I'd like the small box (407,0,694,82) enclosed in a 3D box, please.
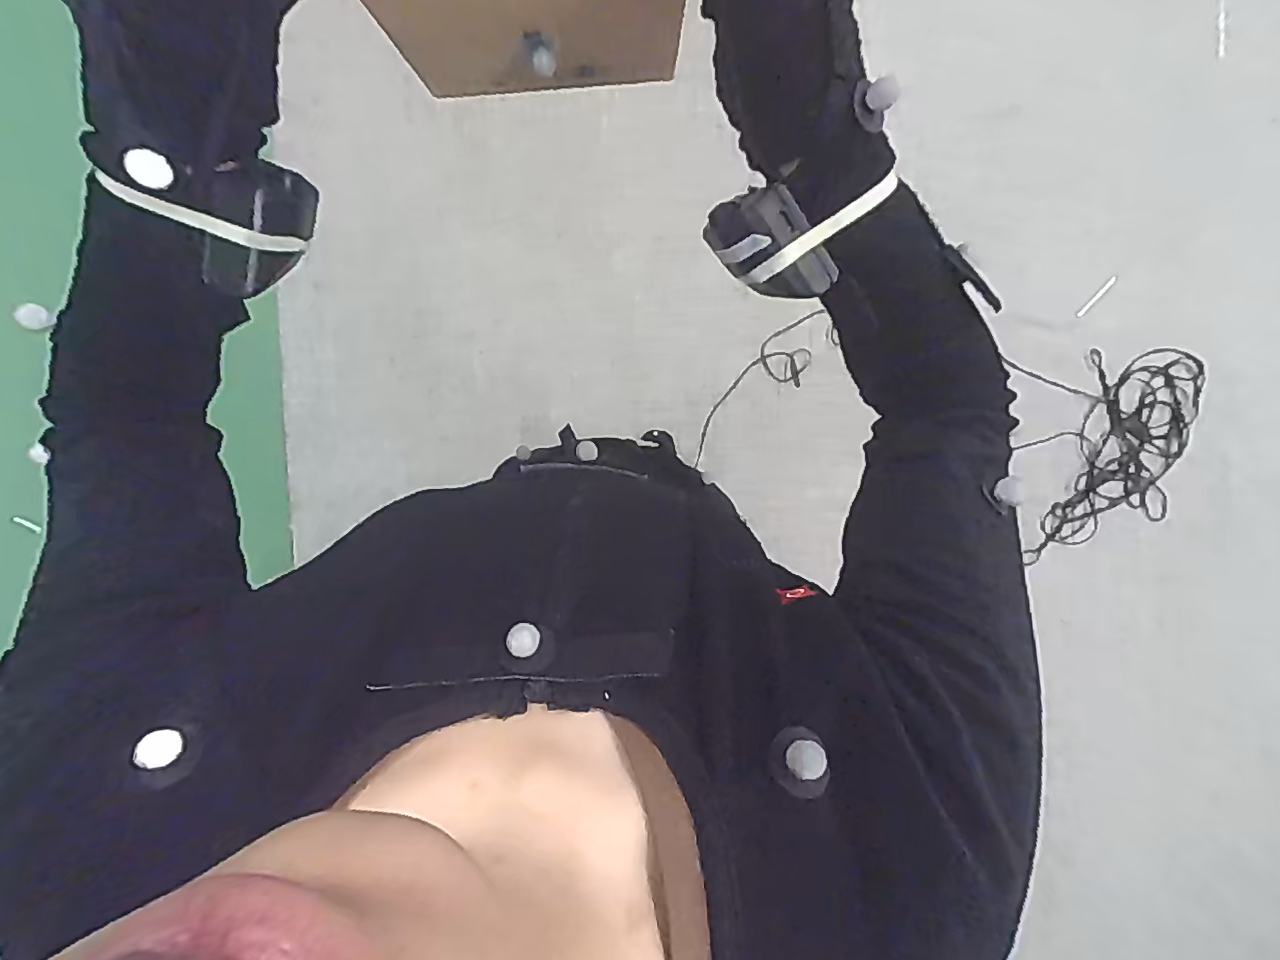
[{"bbox_3d":[-0.055,-0.340,0.265,0.168,0.176,0.179,-4,101,1],"label":"small box"}]
